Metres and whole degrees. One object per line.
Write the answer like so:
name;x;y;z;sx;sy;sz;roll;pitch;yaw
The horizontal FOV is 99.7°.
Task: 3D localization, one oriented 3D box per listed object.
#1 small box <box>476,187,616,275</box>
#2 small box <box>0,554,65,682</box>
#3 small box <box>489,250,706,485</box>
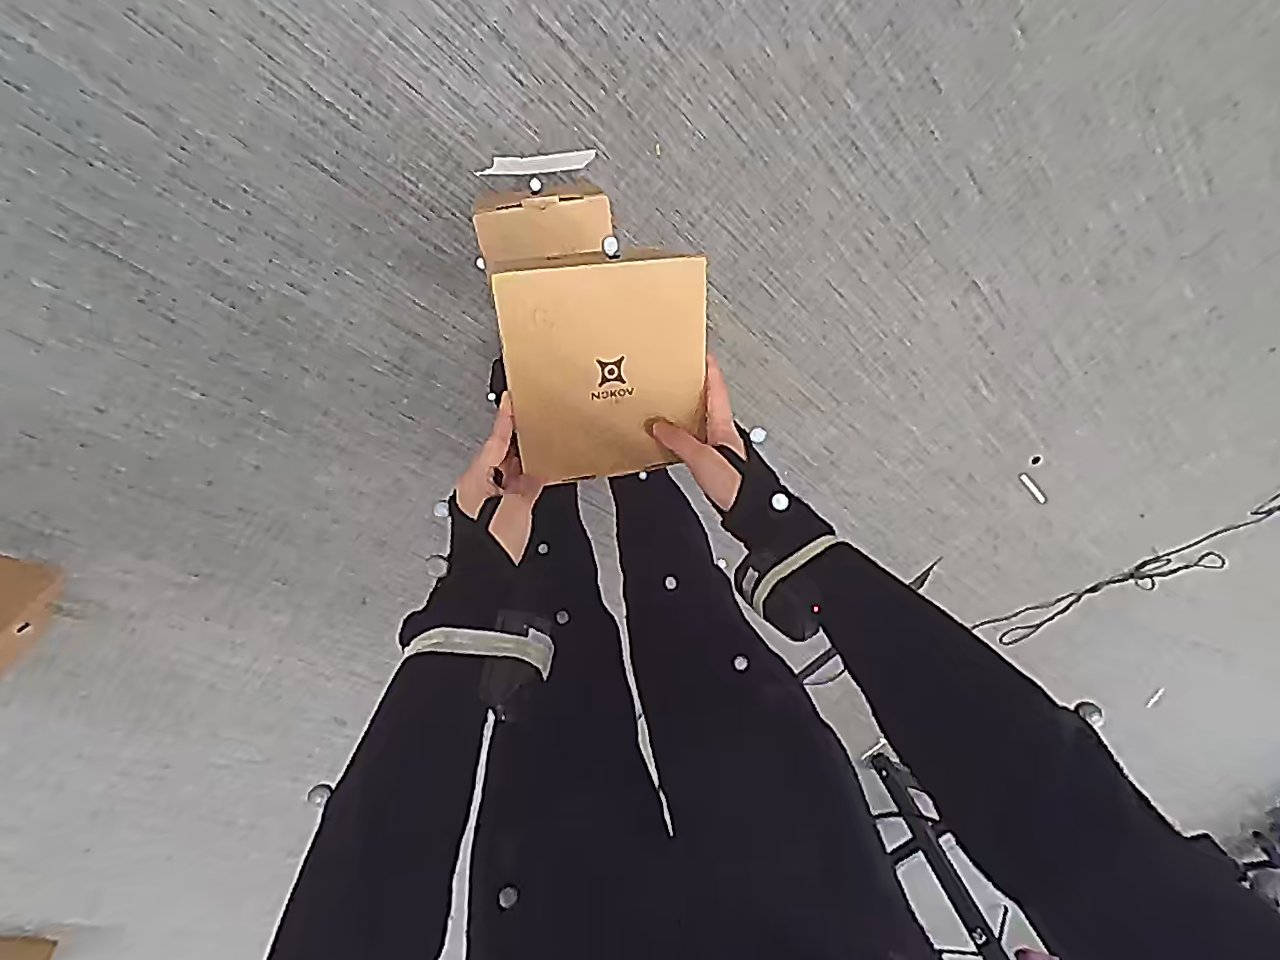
small box;-0.125;-0.300;0.751;0.168;0.176;0.179;-11;125;-7
small box;-1.090;0.223;0.862;0.179;0.176;0.168;27;112;-26
small box;-0.045;-0.118;0.510;0.168;0.176;0.179;-10;118;-12
